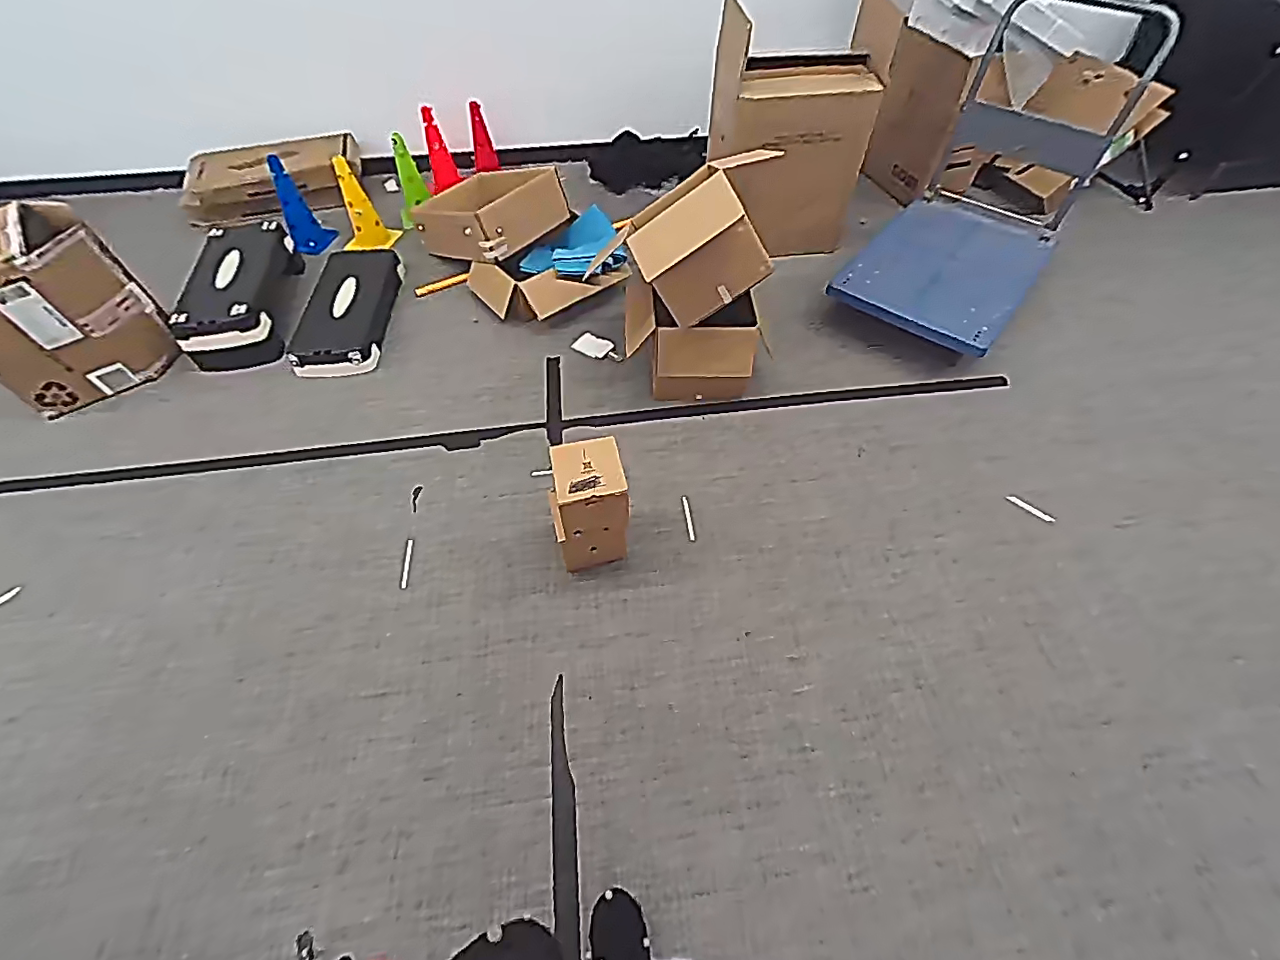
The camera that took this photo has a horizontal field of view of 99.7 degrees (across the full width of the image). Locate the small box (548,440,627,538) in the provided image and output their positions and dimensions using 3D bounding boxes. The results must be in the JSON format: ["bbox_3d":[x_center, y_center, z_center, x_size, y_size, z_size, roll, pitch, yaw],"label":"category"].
[{"bbox_3d":[-0.128,0.030,1.347,0.168,0.176,0.179,-10,54,-8],"label":"small box"}]
